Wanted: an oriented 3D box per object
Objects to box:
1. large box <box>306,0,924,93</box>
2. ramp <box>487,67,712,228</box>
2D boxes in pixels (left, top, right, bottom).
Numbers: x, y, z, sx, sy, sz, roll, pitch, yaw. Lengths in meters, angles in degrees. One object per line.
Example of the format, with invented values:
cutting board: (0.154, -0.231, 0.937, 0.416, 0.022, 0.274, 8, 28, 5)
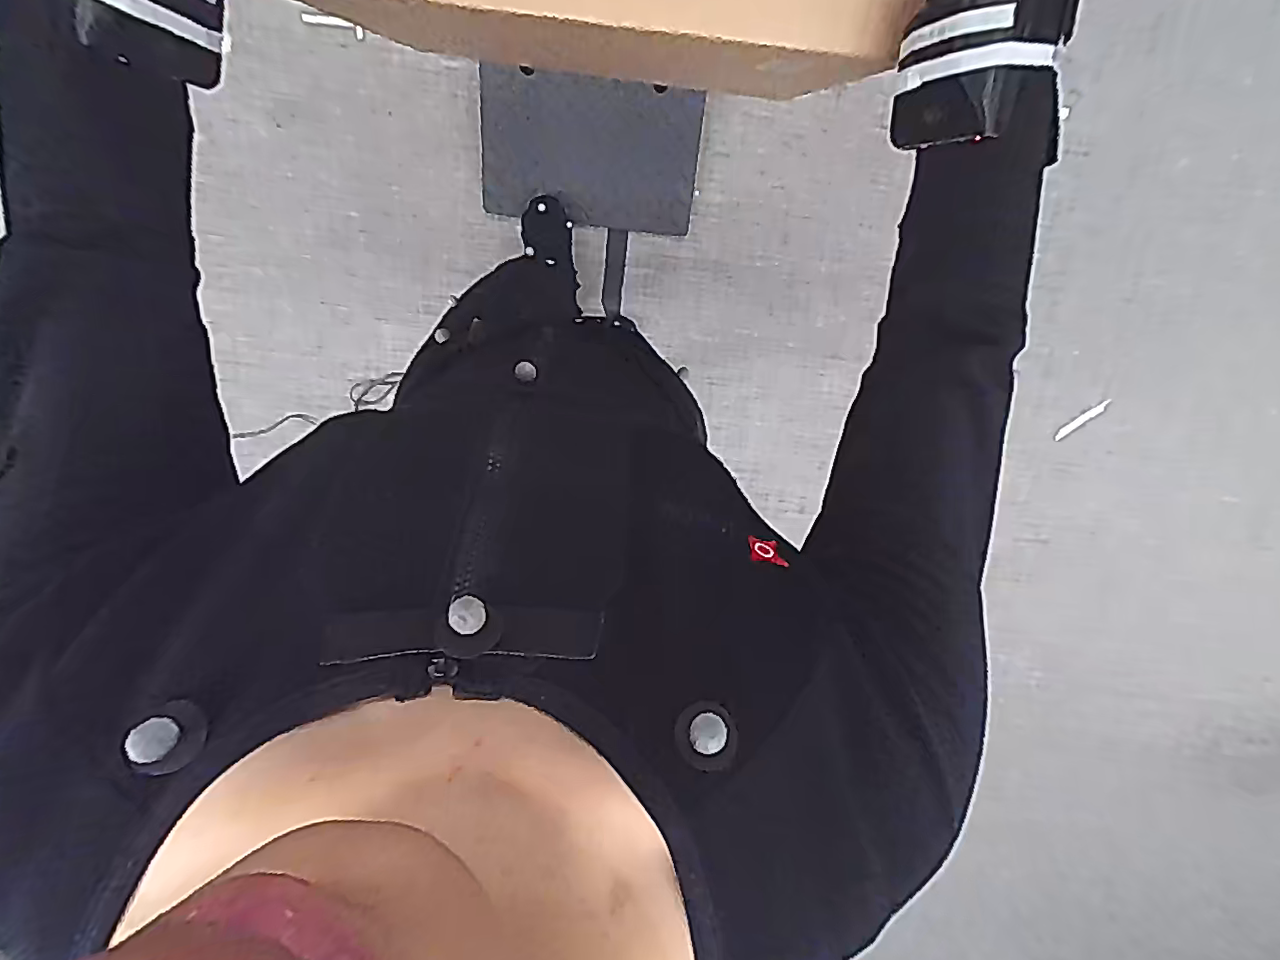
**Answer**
large box: (-0.020, -0.487, 0.376, 0.408, 0.320, 0.320, 4, 122, -3)
ramp: (-0.063, -1.064, 1.065, 0.509, 0.206, 0.991, 3, 109, -3)
